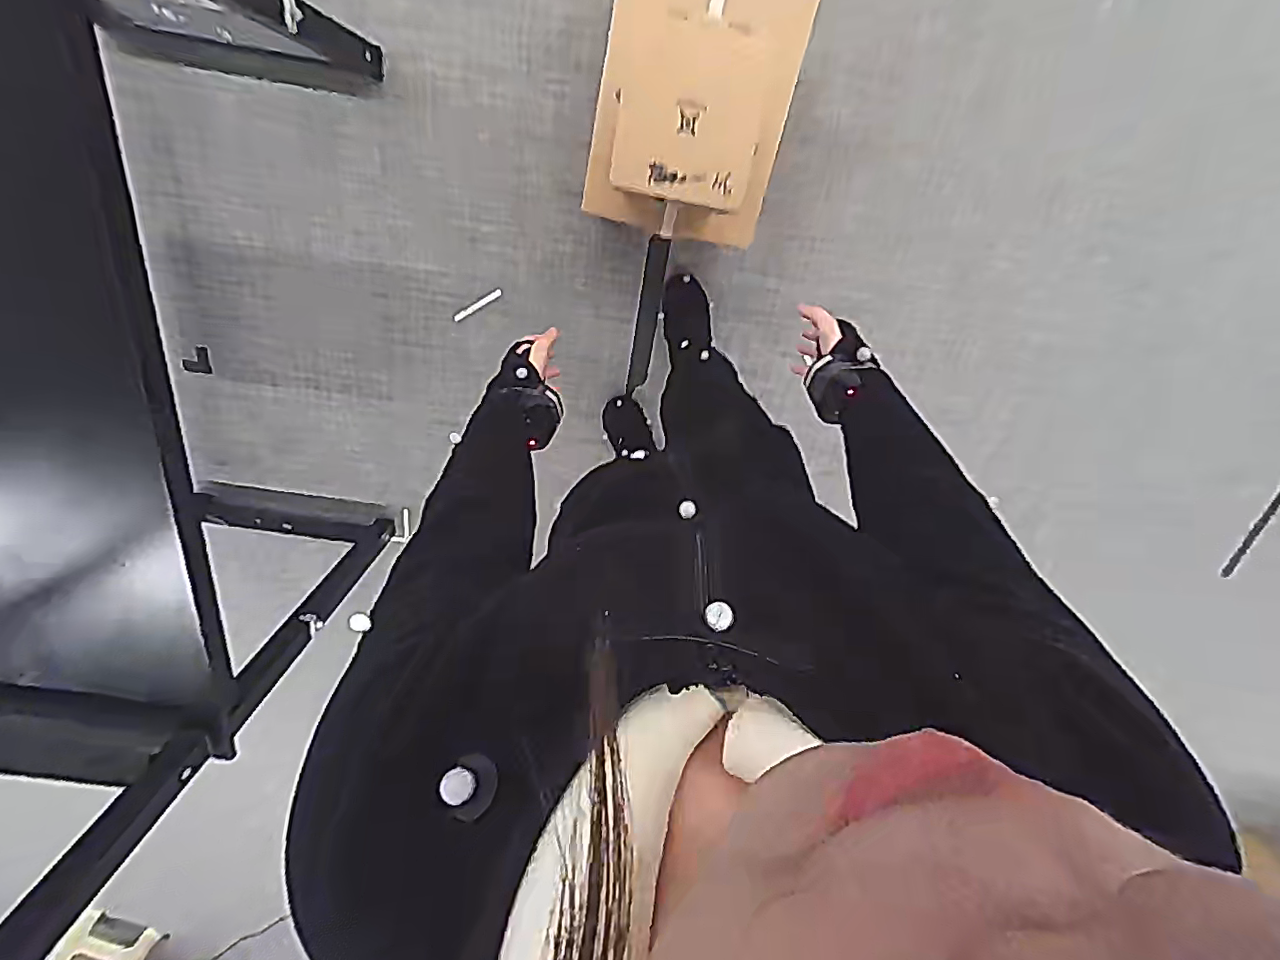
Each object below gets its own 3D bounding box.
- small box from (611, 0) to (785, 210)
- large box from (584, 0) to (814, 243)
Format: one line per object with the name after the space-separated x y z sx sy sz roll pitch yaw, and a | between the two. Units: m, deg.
0.063 -0.454 0.680 0.168 0.176 0.179 11 114 -3 | small box
0.089 -0.692 1.018 0.320 0.320 0.408 11 115 -6 | large box
